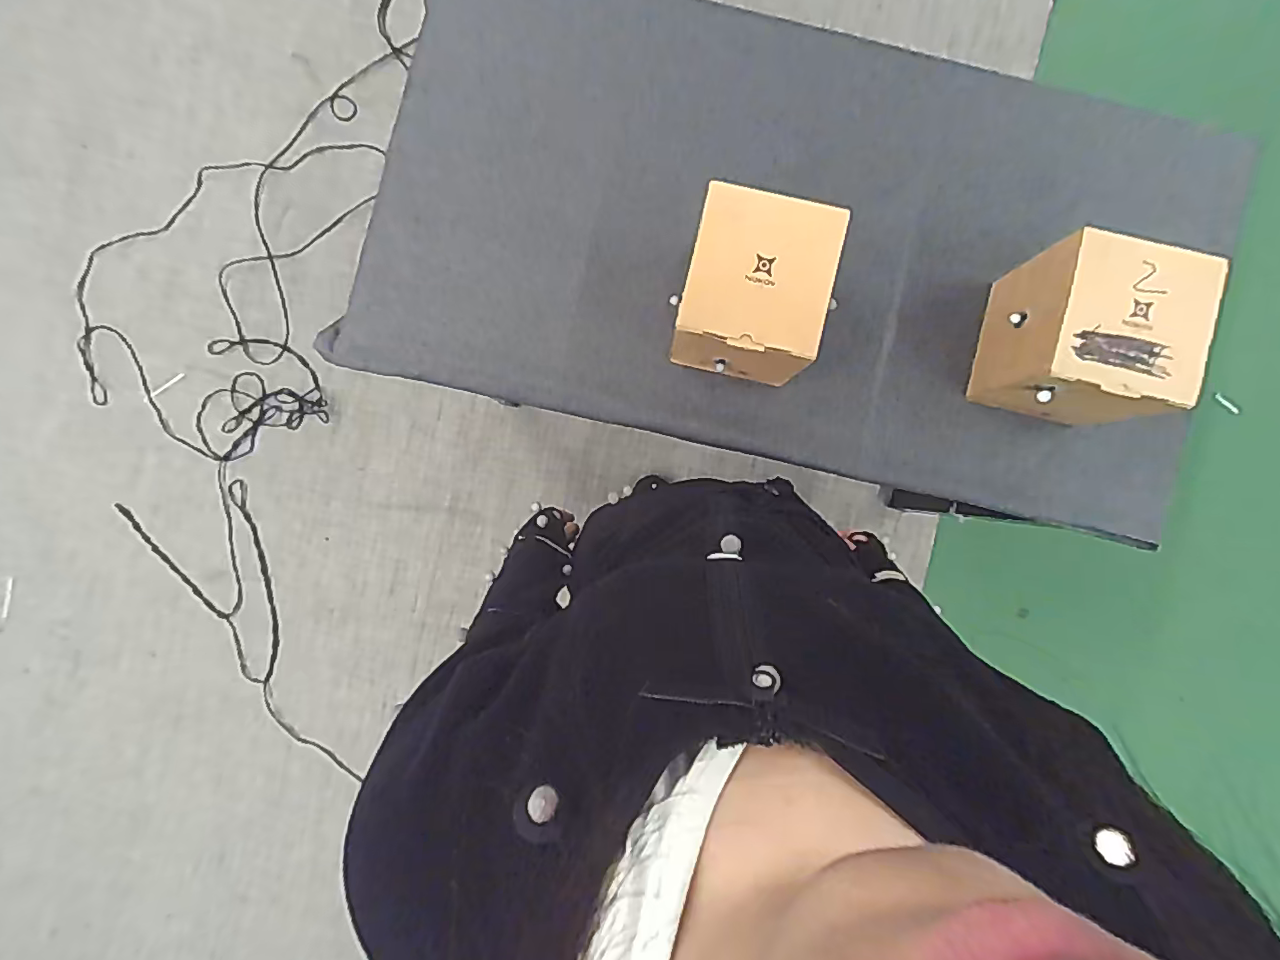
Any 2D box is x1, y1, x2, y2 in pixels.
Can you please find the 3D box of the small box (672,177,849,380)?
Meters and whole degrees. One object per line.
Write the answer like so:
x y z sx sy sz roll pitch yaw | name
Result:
0.140 -0.242 0.691 0.168 0.176 0.179 13 91 0 | small box
